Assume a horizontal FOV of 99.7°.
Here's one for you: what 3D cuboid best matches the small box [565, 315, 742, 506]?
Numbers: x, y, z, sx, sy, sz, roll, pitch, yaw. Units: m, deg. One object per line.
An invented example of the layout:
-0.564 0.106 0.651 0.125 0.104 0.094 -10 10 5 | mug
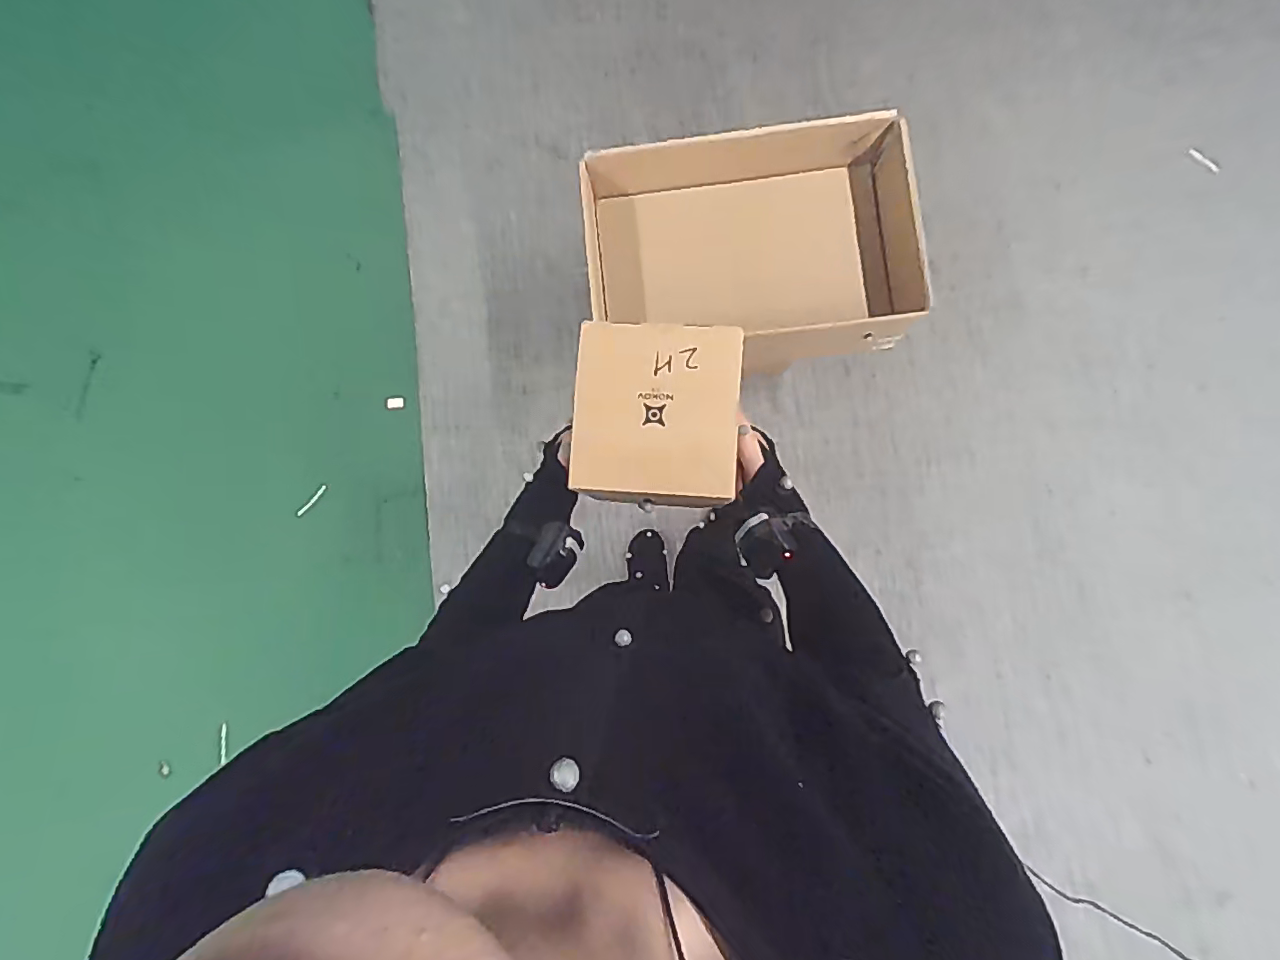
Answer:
0.020 -0.066 0.605 0.168 0.176 0.179 3 83 5 | small box
